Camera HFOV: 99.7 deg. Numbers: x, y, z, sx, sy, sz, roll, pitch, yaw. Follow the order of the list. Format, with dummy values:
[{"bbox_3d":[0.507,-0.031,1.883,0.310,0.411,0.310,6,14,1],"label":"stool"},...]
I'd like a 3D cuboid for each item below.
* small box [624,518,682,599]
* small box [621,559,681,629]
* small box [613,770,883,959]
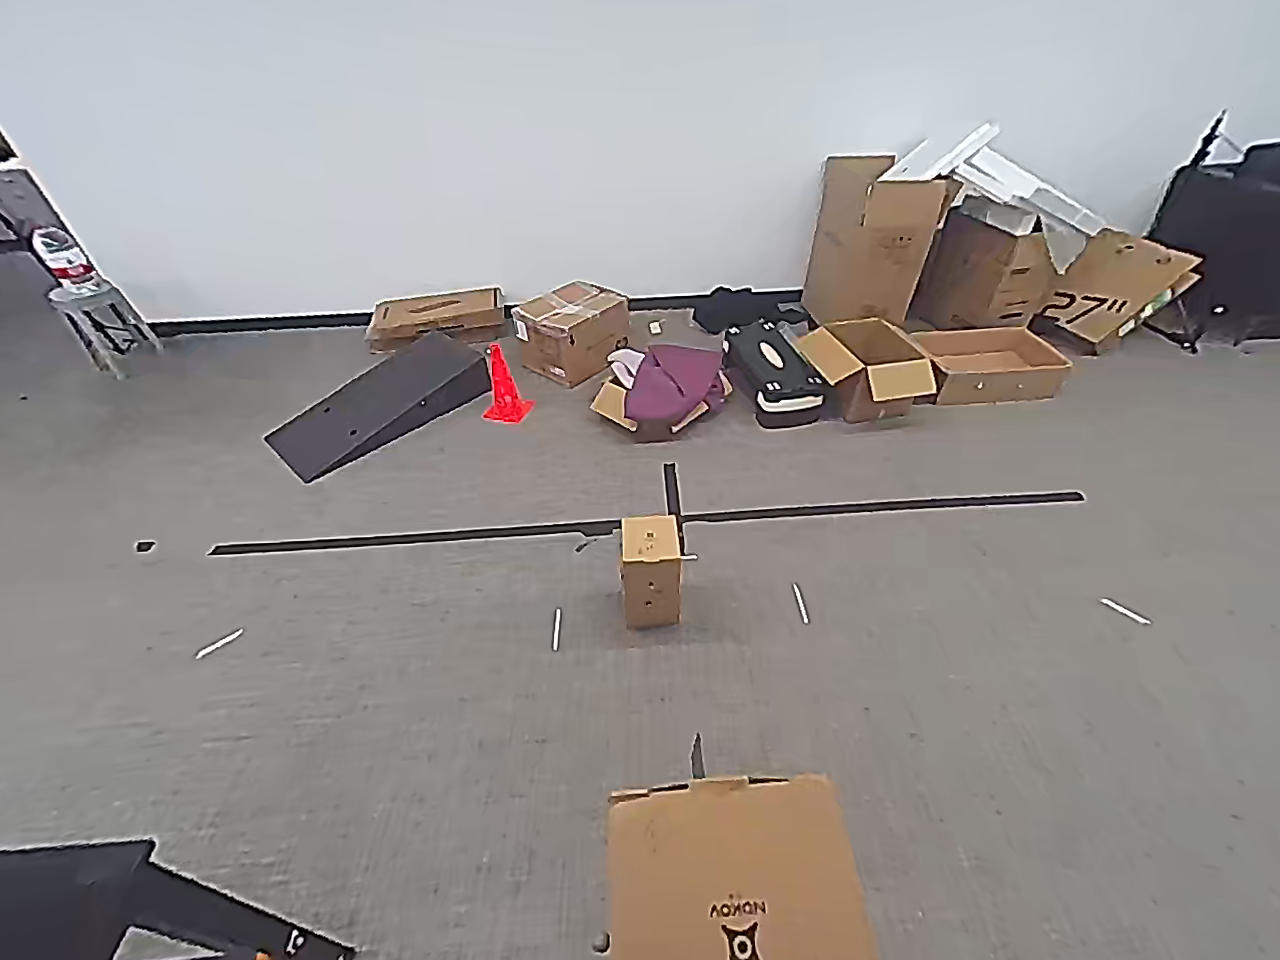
[{"bbox_3d":[0.035,0.235,1.623,0.168,0.176,0.179,-3,42,0],"label":"small box"},{"bbox_3d":[0.035,0.359,1.731,0.179,0.176,0.168,-5,41,-4],"label":"small box"},{"bbox_3d":[0.066,0.332,0.396,0.168,0.176,0.179,-4,50,-1],"label":"small box"}]
